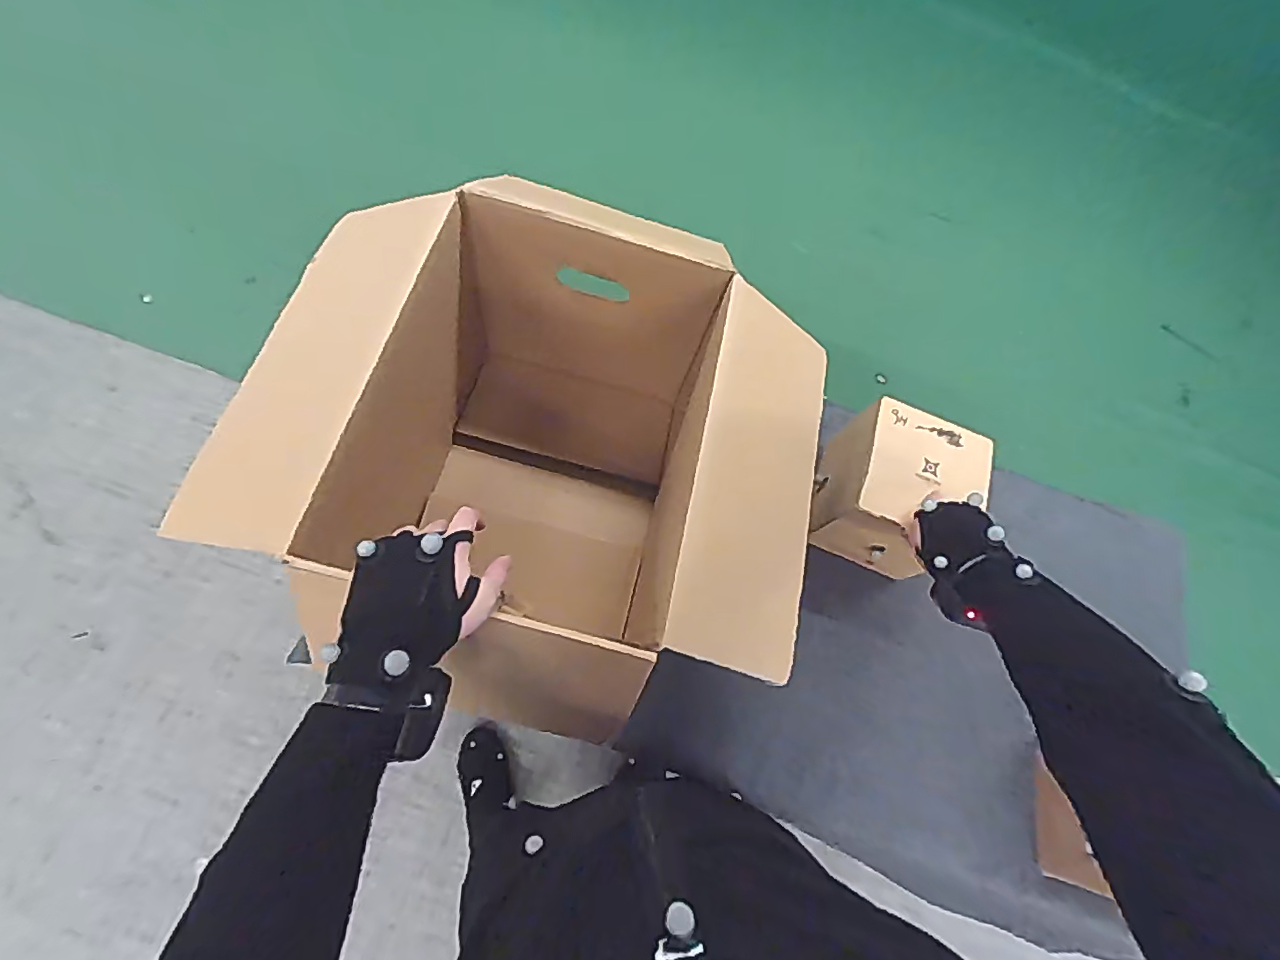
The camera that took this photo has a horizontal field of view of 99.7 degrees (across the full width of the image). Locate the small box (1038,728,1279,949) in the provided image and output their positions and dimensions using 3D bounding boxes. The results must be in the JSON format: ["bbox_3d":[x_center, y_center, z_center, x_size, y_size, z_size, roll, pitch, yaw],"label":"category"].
[{"bbox_3d":[0.630,0.422,0.664,0.168,0.176,0.179,18,67,-1],"label":"small box"}]
